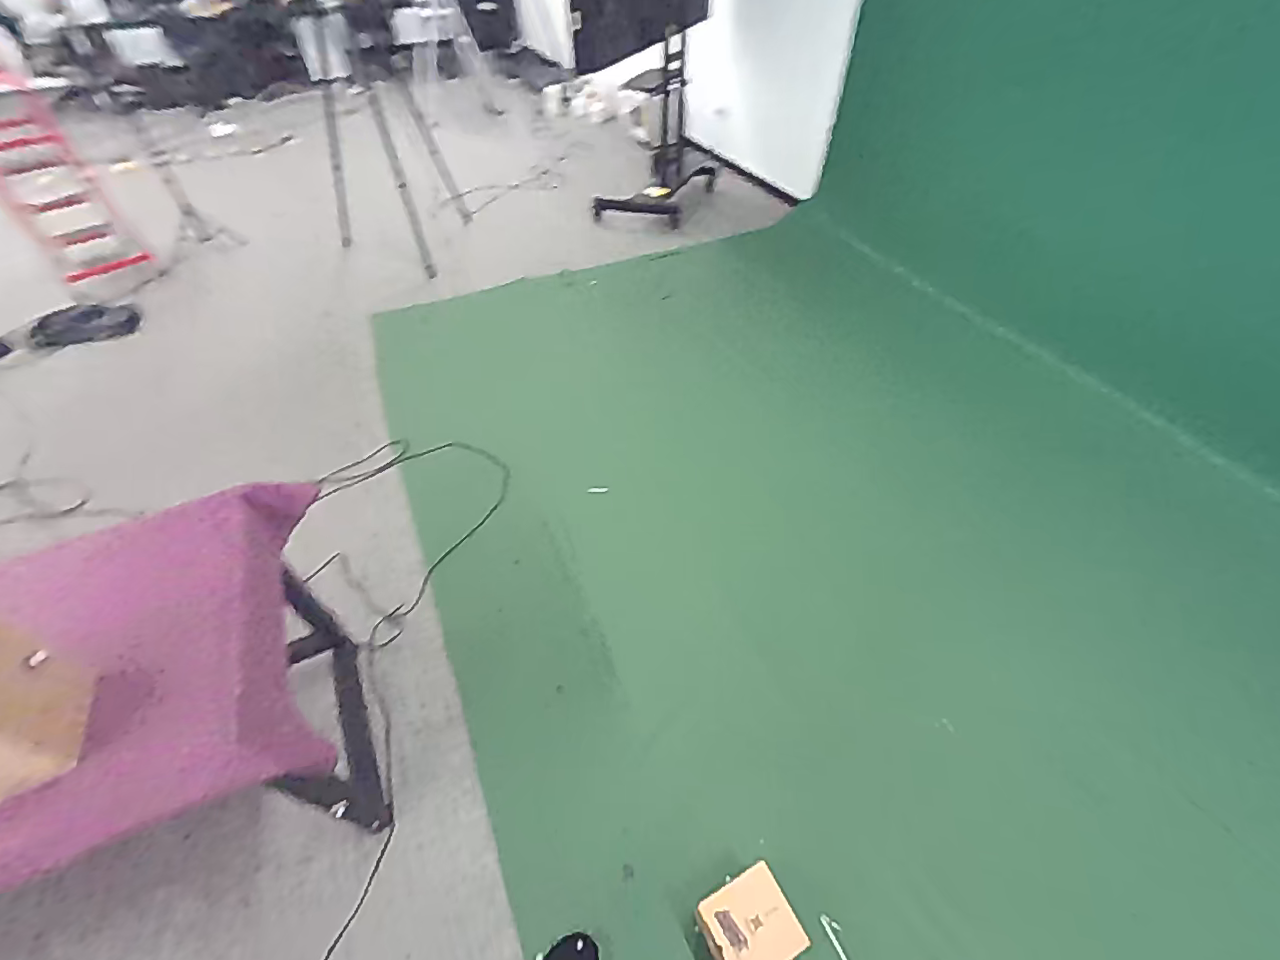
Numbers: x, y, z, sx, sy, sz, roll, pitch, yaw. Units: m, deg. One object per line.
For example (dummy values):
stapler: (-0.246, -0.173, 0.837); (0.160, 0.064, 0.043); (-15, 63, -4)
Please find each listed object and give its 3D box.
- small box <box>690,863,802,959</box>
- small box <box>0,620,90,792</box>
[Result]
small box: (0.221, 0.988, 1.185); (0.179, 0.176, 0.168); (-20, 51, -19)
small box: (-0.968, 0.344, 0.789); (0.168, 0.176, 0.179); (-21, 50, -17)
